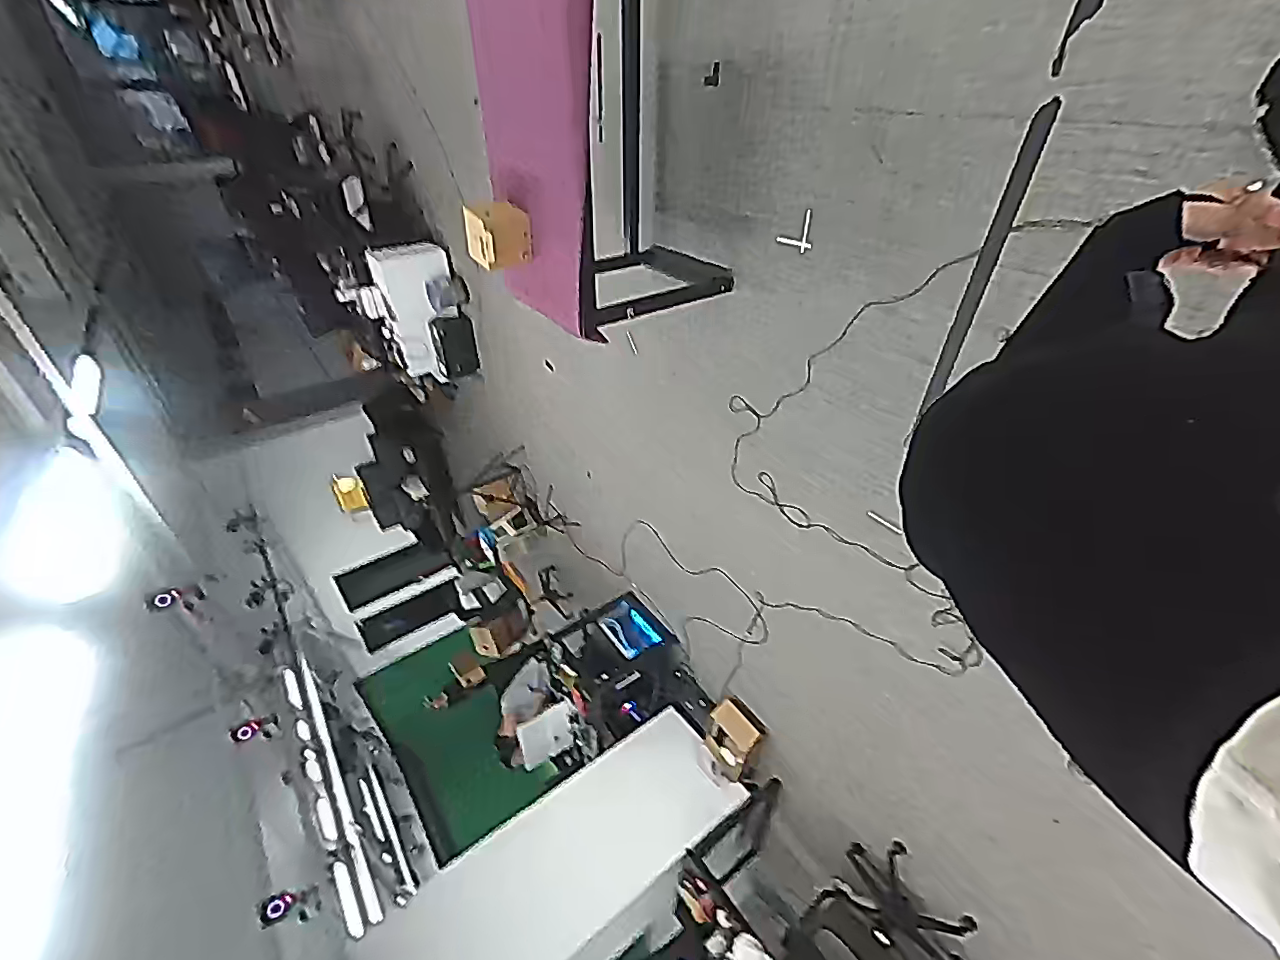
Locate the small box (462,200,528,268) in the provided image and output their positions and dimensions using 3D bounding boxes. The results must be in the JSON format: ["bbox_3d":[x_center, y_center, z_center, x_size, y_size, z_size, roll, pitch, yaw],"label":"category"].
[{"bbox_3d":[-0.504,-0.875,1.912,0.179,0.176,0.168,44,144,34],"label":"small box"}]
